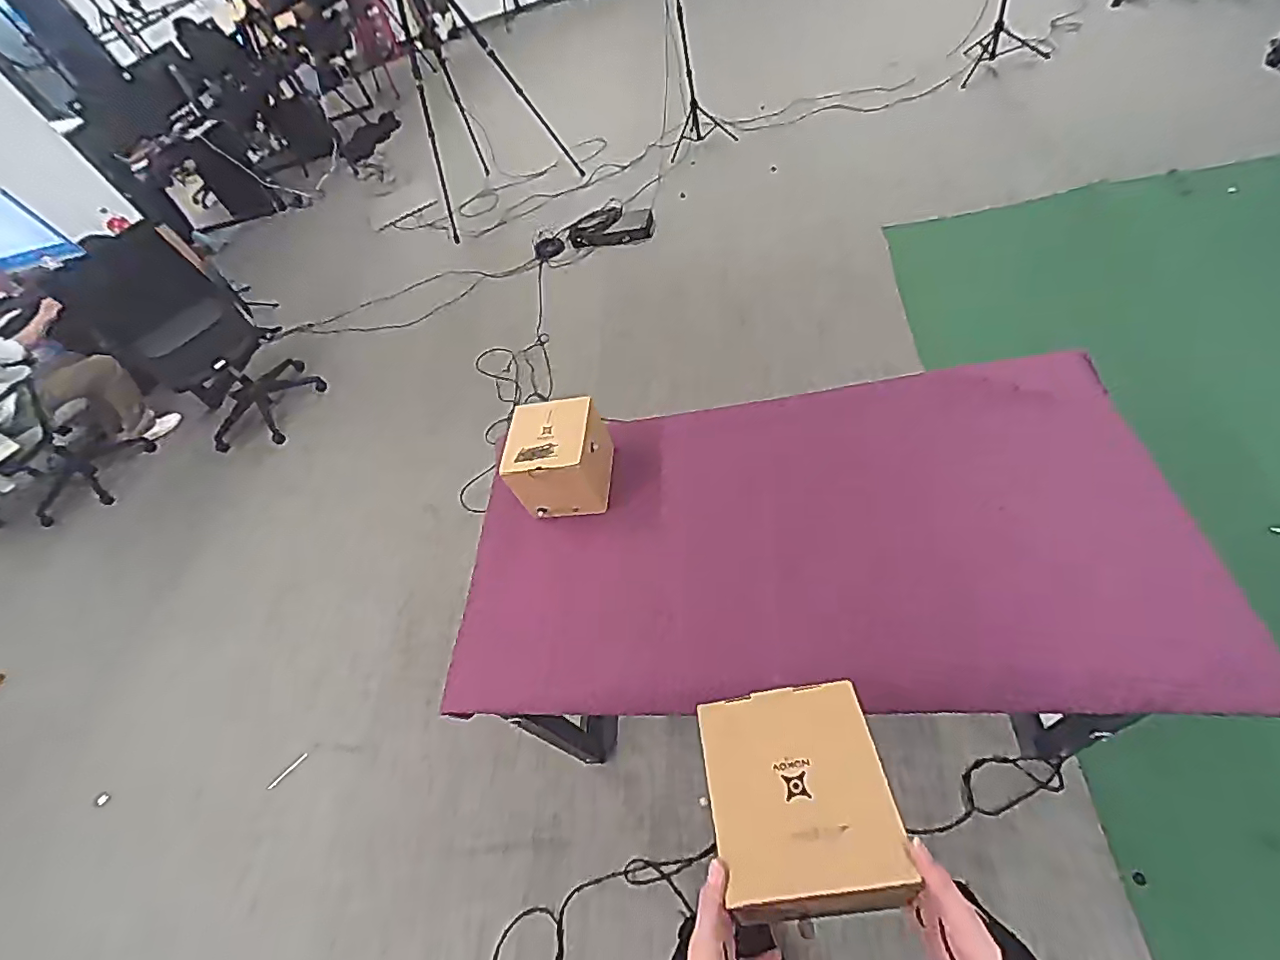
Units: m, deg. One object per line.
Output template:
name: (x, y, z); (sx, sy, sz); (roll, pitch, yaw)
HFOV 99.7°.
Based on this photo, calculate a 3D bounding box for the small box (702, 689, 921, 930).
small box: (0.164, 0.347, 0.567); (0.168, 0.176, 0.179); (-11, 46, 6)

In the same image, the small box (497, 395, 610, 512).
small box: (-0.164, -0.045, 1.094); (0.168, 0.176, 0.179); (-4, 55, 13)
